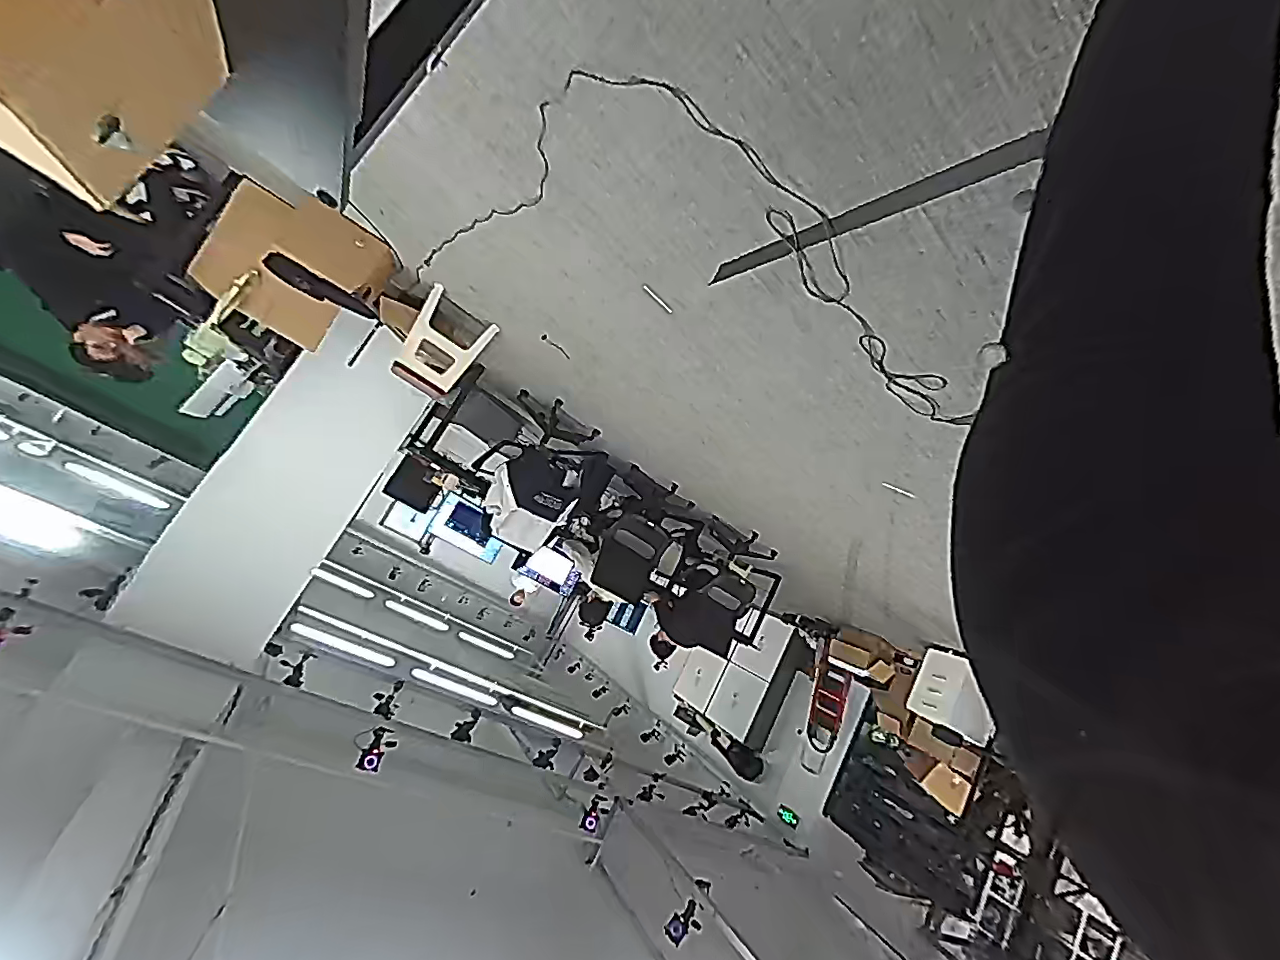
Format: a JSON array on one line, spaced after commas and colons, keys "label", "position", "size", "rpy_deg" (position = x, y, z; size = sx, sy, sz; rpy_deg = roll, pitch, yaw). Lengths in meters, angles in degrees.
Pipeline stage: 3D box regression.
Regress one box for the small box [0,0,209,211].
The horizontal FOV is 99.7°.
[{"label": "small box", "position": [-0.418, -0.321, 0.342], "size": [0.168, 0.176, 0.179], "rpy_deg": [34, 166, -28]}]
